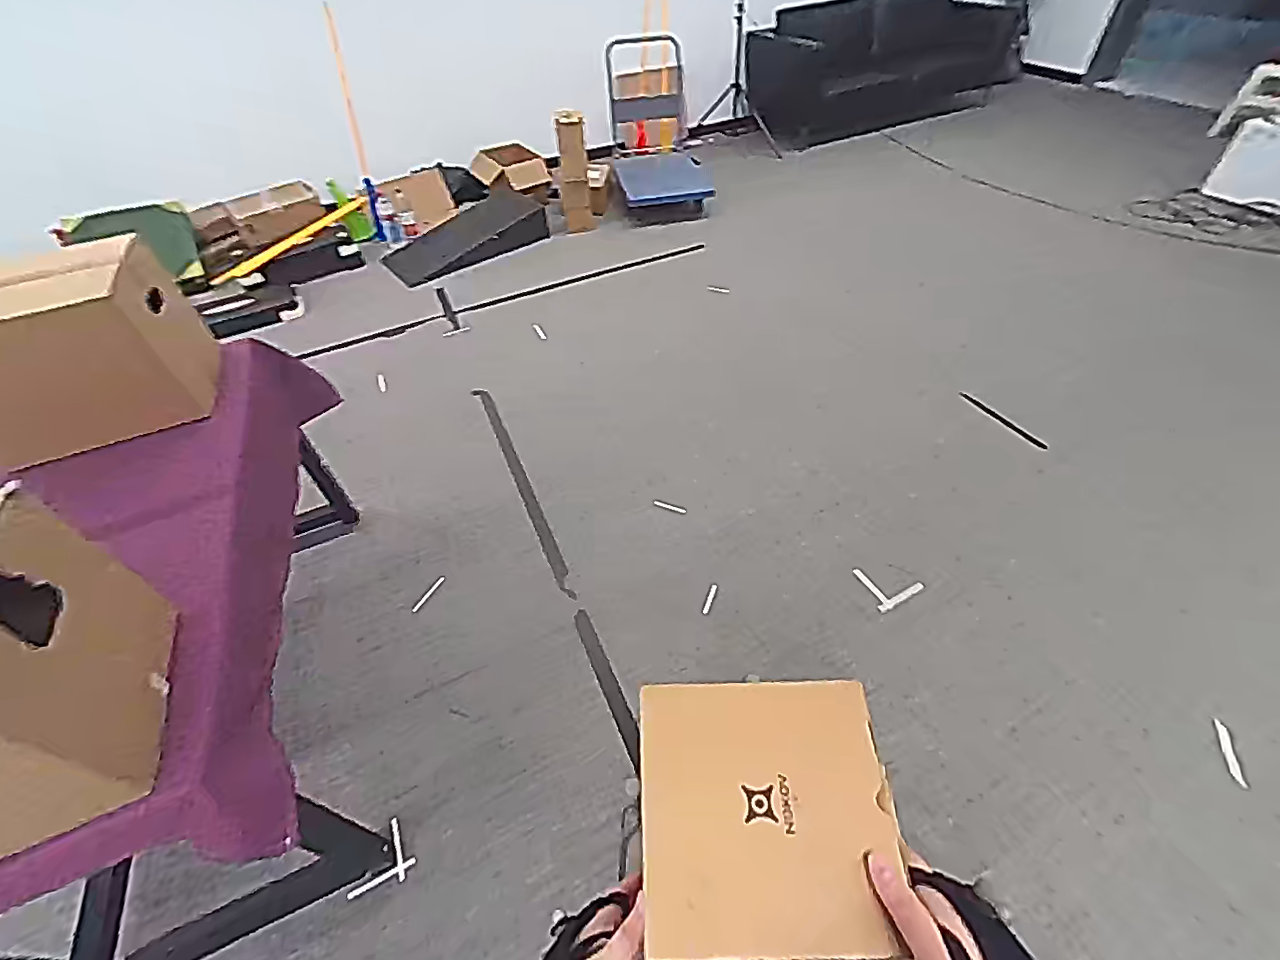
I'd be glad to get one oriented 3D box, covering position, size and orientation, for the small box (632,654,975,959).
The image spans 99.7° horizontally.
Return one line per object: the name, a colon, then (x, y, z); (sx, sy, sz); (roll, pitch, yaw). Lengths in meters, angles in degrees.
small box: (0.103, 0.254, 0.401); (0.168, 0.176, 0.179); (9, 34, -16)
